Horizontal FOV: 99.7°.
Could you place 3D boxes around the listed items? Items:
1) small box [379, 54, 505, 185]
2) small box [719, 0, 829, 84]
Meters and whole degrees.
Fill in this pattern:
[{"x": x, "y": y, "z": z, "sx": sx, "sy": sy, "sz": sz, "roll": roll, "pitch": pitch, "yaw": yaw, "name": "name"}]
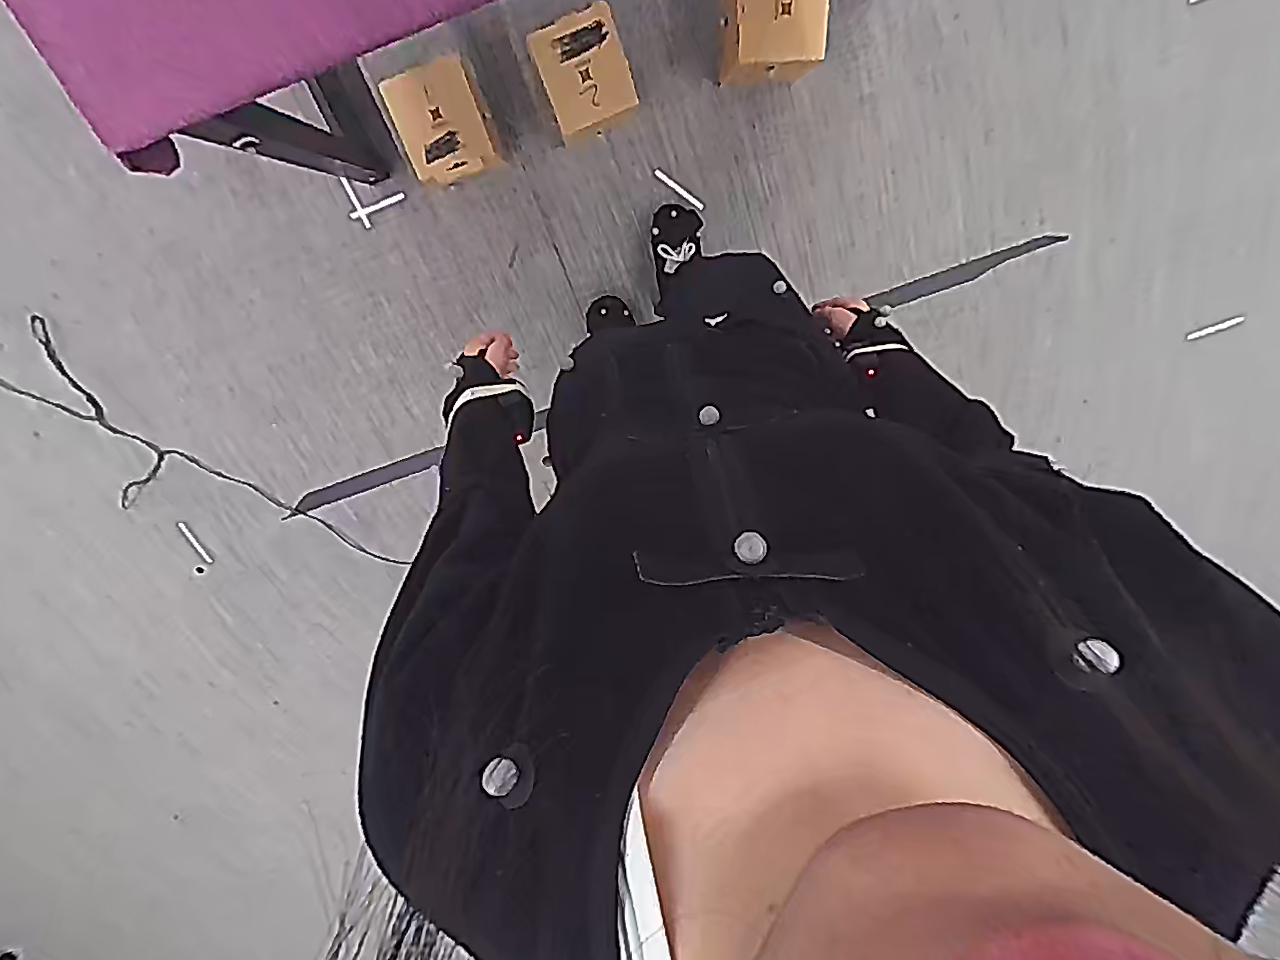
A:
[{"x": -0.397, "y": -0.734, "z": 1.124, "sx": 0.168, "sy": 0.176, "sz": 0.179, "roll": -19, "pitch": 113, "yaw": 3, "name": "small box"}, {"x": 0.266, "y": -0.924, "z": 1.097, "sx": 0.179, "sy": 0.176, "sz": 0.168, "roll": -4, "pitch": 114, "yaw": -2, "name": "small box"}]
